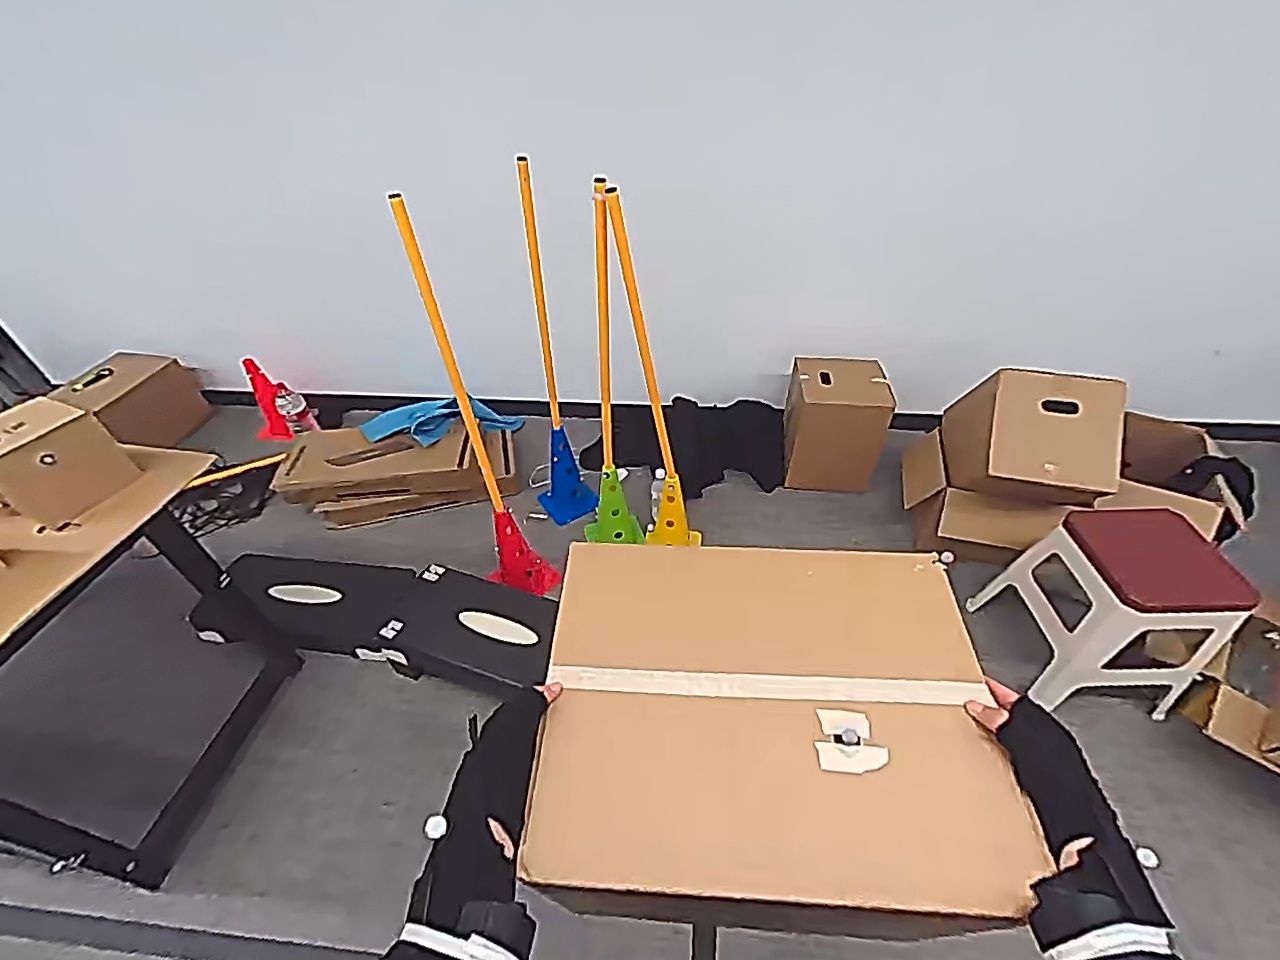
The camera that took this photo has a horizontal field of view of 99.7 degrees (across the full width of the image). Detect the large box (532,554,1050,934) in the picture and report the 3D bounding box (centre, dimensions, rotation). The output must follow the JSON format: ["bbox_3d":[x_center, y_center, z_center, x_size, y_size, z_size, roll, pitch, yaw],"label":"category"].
[{"bbox_3d":[0.121,0.303,0.621,0.408,0.320,0.320,2,49,4],"label":"large box"}]
